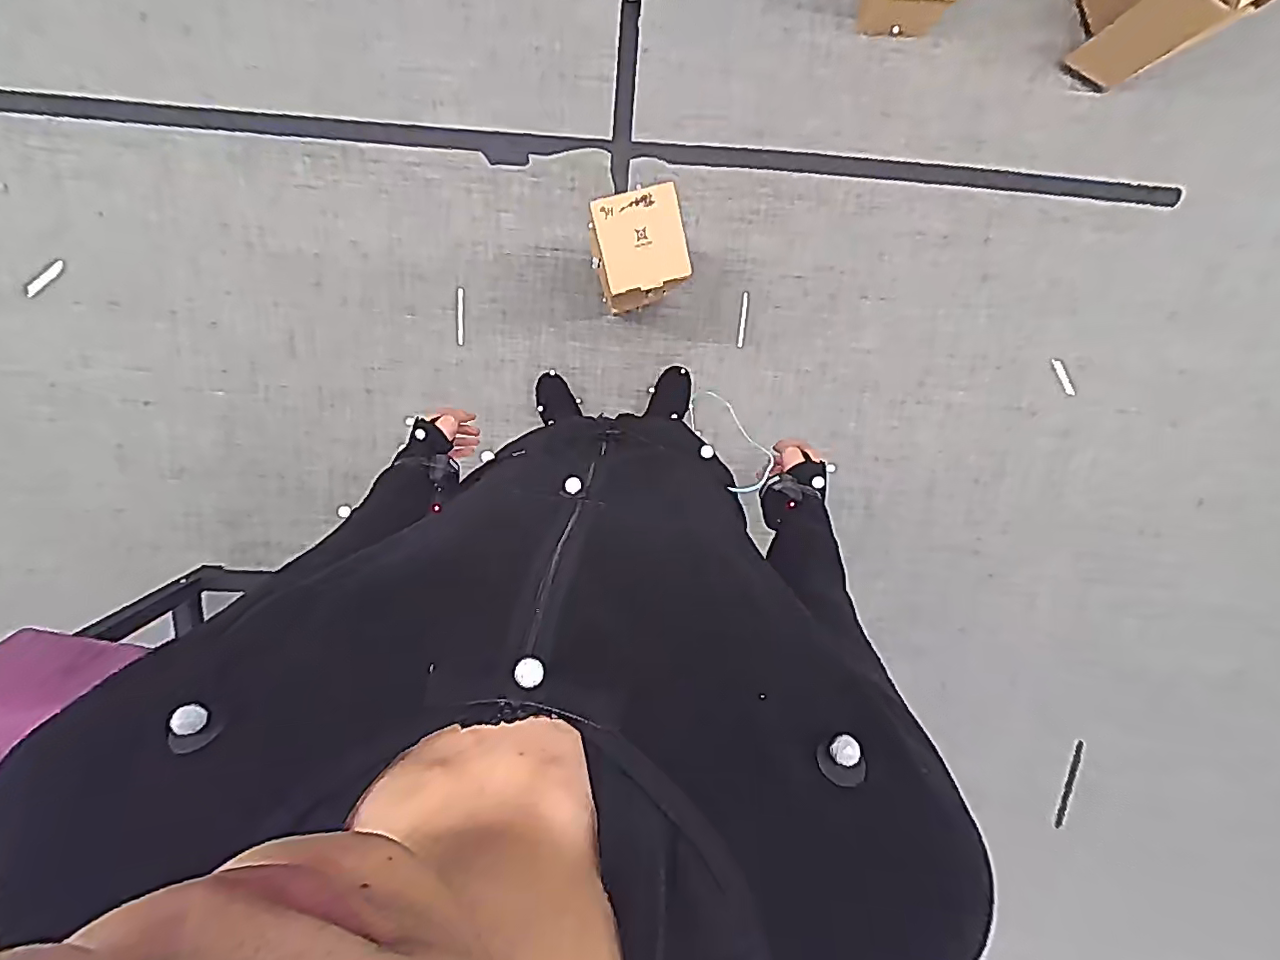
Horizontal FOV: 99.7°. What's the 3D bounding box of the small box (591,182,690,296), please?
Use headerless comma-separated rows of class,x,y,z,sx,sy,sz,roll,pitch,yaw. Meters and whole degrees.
small box,-0.001,-0.486,1.118,0.168,0.176,0.179,-14,105,-1
